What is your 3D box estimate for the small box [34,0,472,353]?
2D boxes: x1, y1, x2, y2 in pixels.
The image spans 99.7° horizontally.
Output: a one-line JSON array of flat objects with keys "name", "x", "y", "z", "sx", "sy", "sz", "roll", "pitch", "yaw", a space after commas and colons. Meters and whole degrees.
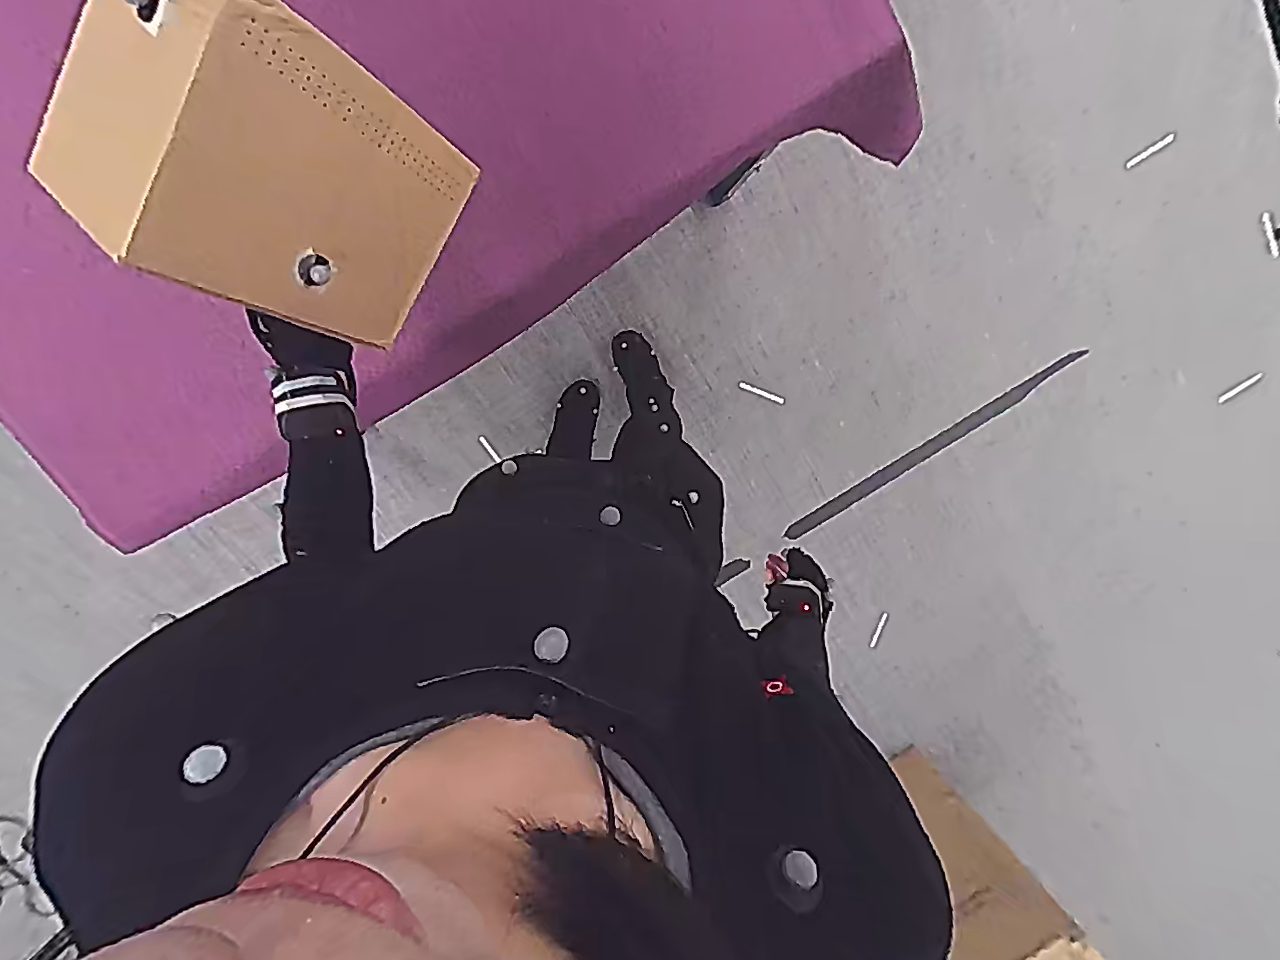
[{"name": "small box", "x": -0.255, "y": -0.221, "z": 0.380, "sx": 0.168, "sy": 0.179, "sz": 0.176, "roll": 36, "pitch": 101, "yaw": 24}]
